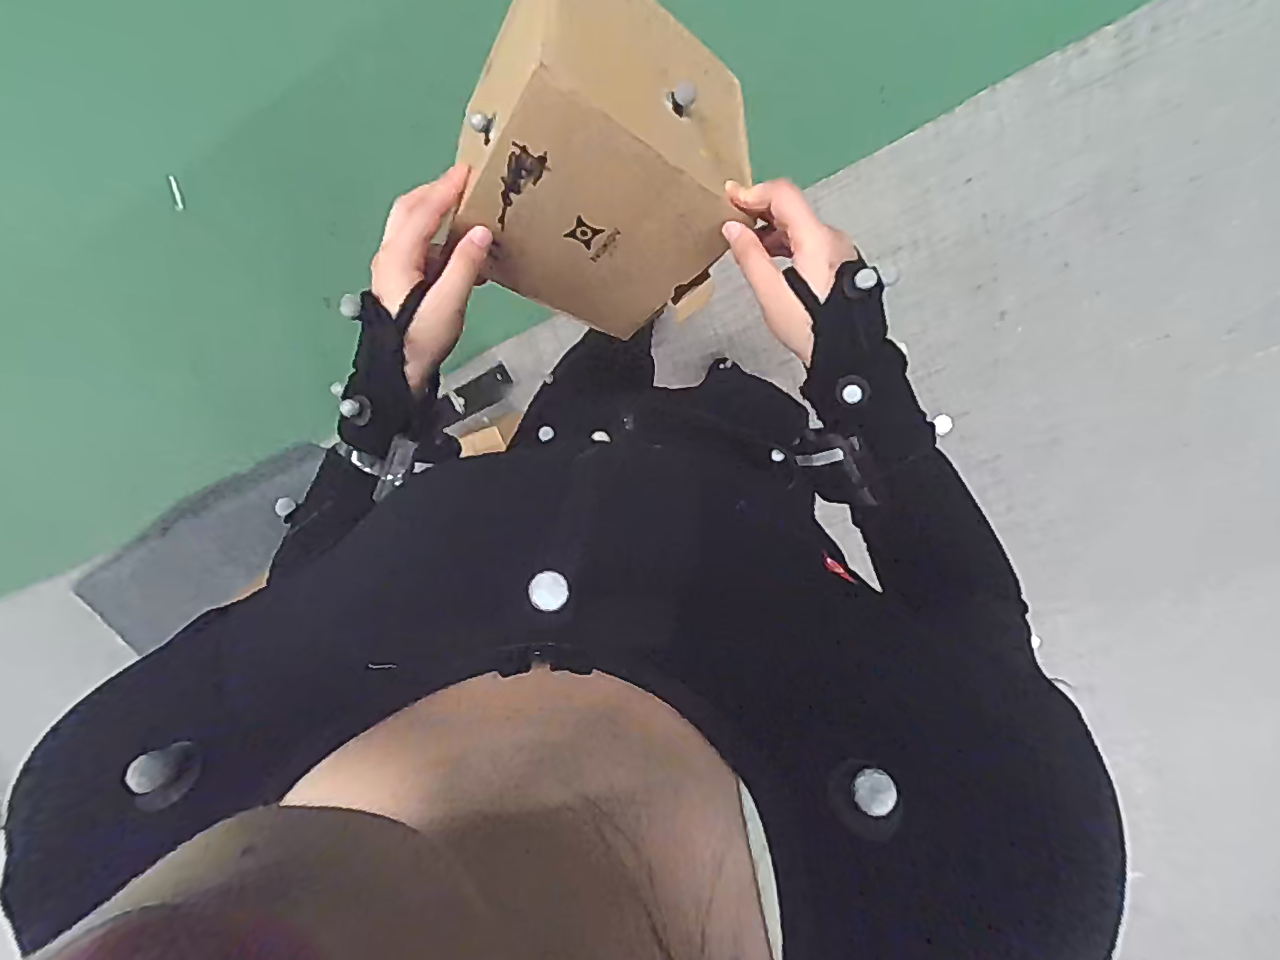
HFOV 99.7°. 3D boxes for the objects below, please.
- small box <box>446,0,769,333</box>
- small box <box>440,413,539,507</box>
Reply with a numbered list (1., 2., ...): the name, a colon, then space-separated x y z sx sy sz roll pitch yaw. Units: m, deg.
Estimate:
1. small box: -0.025 -0.252 0.416 0.179 0.176 0.168 17 151 -35
2. small box: -0.390 -0.057 1.442 0.168 0.176 0.179 -17 109 13
